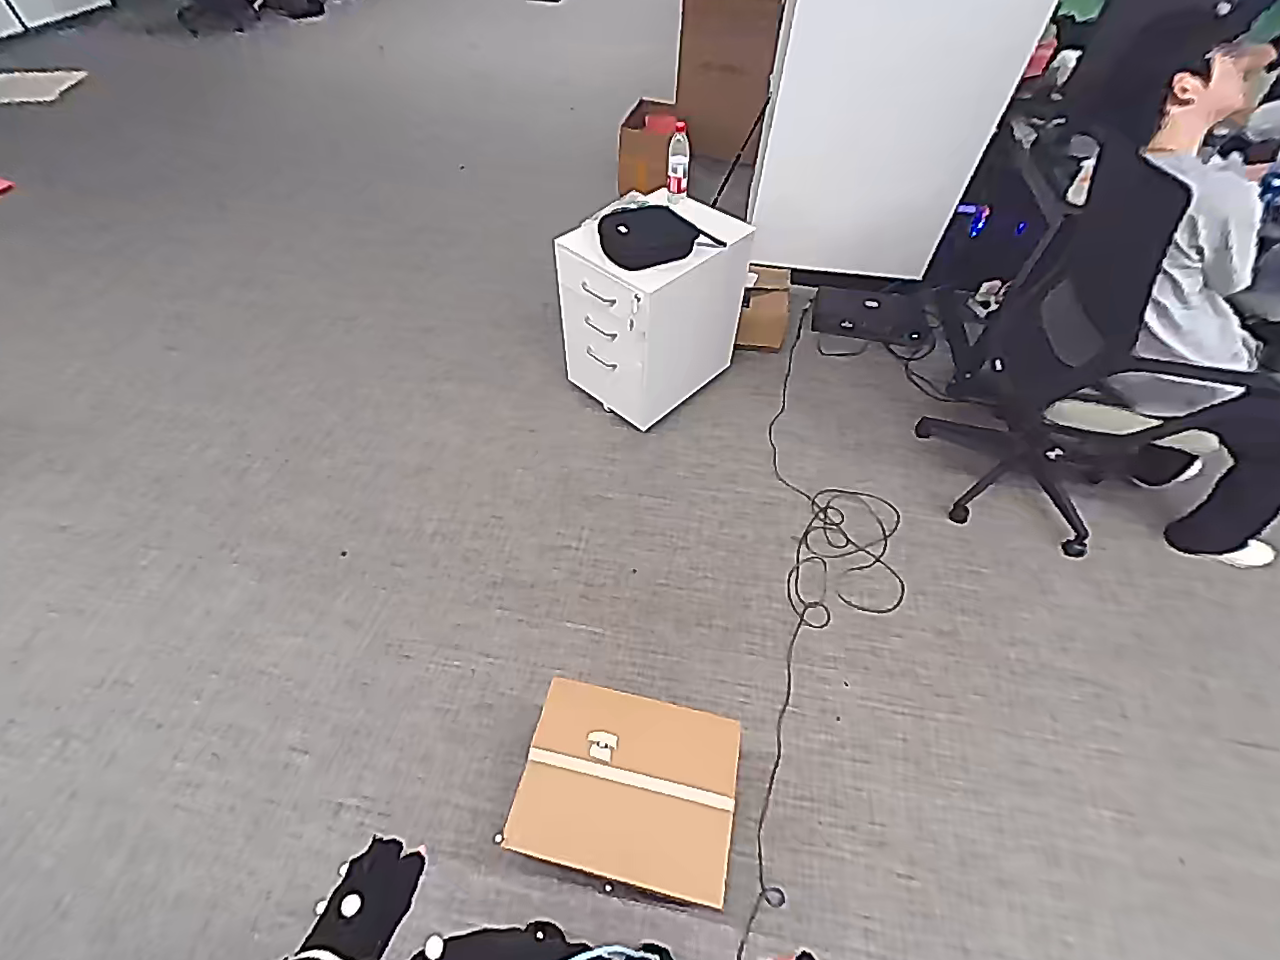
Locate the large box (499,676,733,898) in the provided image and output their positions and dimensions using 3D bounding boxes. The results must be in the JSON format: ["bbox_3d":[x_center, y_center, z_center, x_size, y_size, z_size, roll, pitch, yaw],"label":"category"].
[{"bbox_3d":[-0.032,0.660,1.161,0.408,0.320,0.320,11,52,7],"label":"large box"}]
